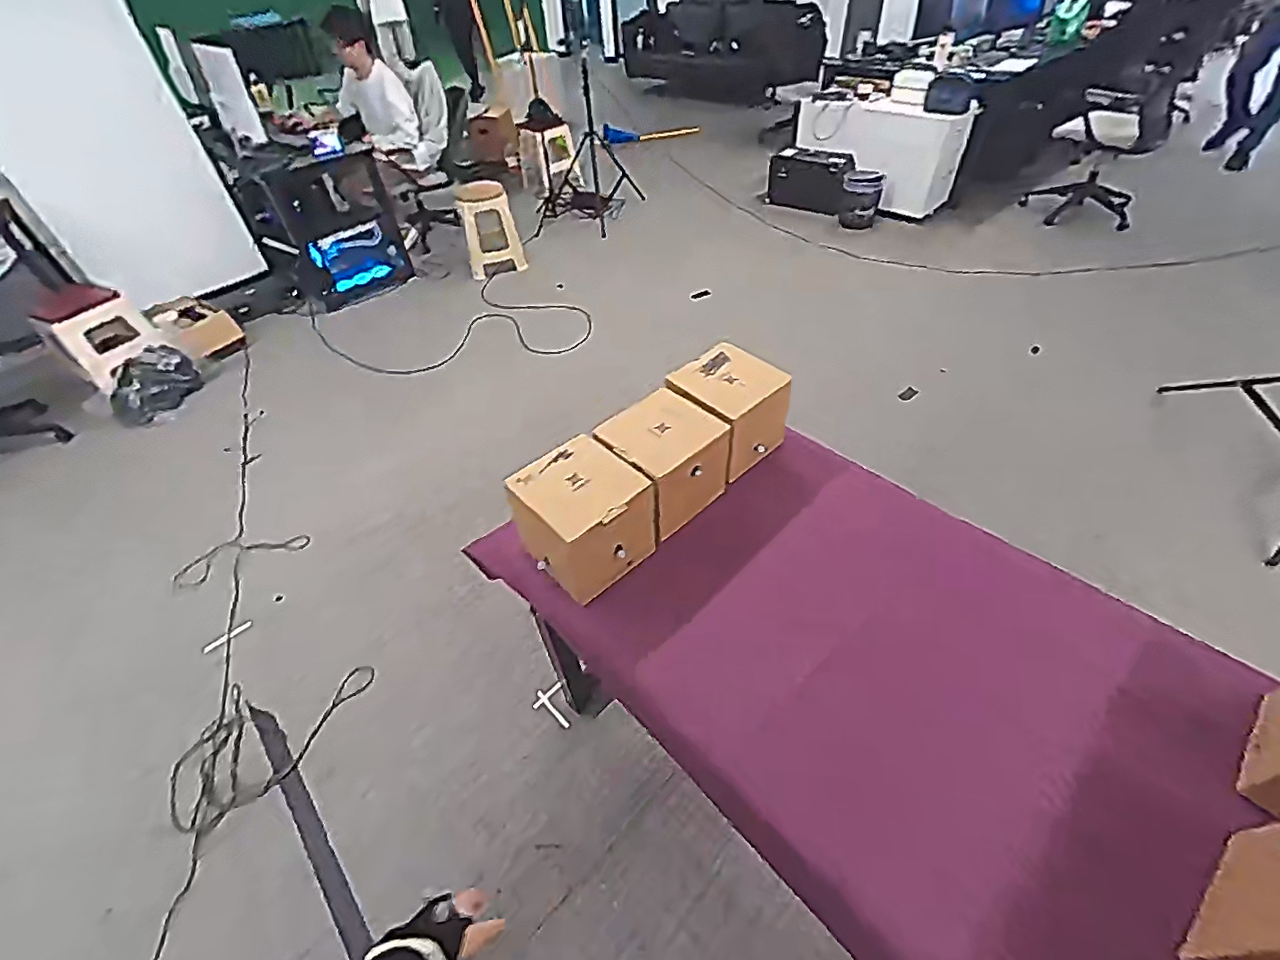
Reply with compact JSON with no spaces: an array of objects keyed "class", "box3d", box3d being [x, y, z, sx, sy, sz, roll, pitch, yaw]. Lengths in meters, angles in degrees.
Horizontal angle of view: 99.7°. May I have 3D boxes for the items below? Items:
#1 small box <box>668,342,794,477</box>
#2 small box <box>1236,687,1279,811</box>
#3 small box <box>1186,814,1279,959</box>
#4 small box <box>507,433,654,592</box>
[{"class":"small box","box3d":[0.171,-0.136,1.061,0.168,0.176,0.179,-35,55,-24]},{"class":"small box","box3d":[0.820,0.309,0.581,0.168,0.176,0.179,-35,54,-25]},{"class":"small box","box3d":[0.658,0.429,0.484,0.179,0.176,0.168,-31,51,-25]},{"class":"small box","box3d":[-0.090,0.059,0.893,0.168,0.176,0.179,-34,54,-27]}]
